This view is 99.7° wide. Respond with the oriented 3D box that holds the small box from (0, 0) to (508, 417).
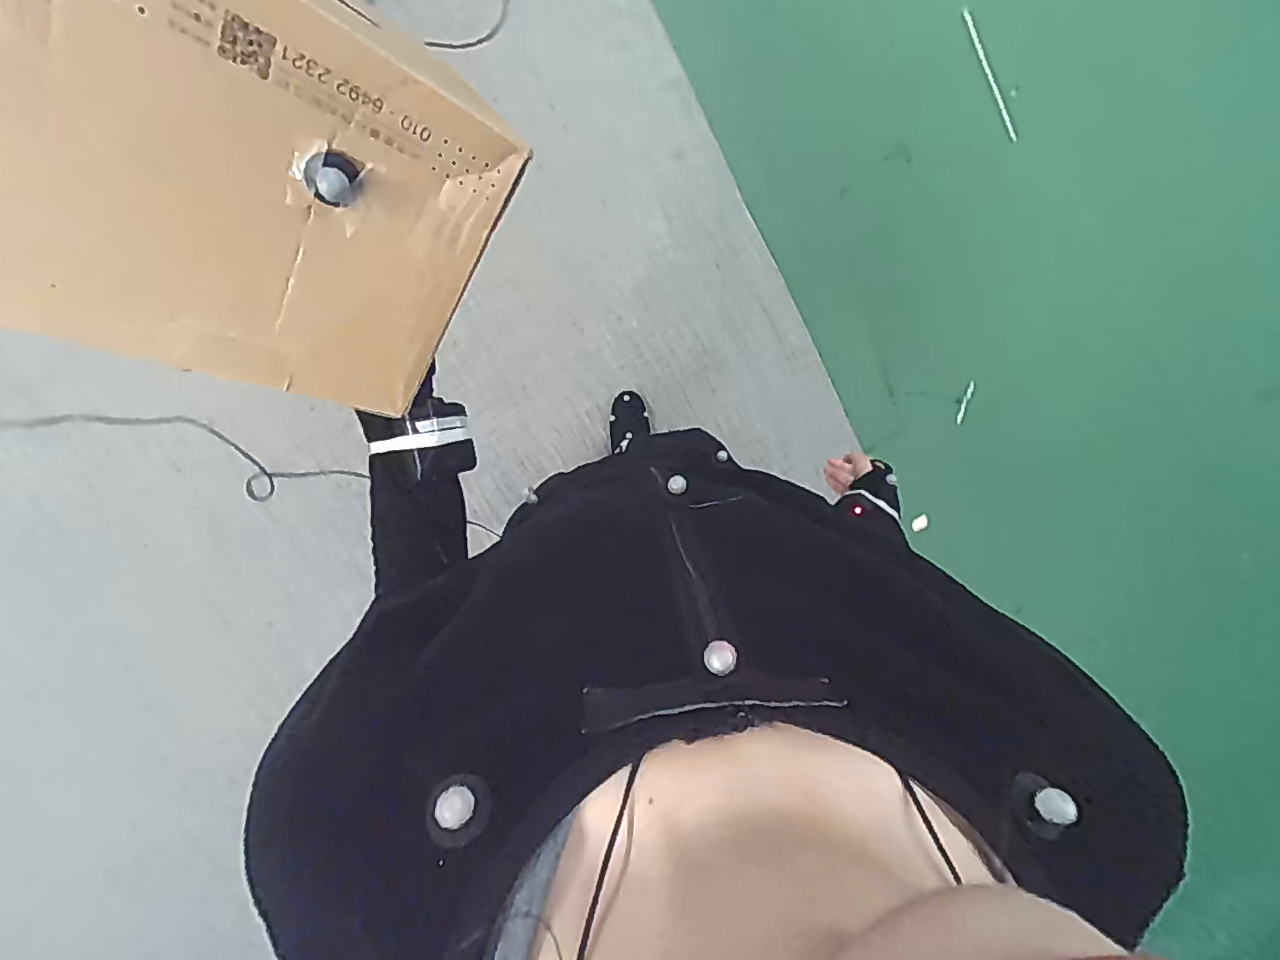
[{"bbox_3d":[-0.191,-0.165,0.282,0.168,0.179,0.176,11,126,-42],"label":"small box"}]
